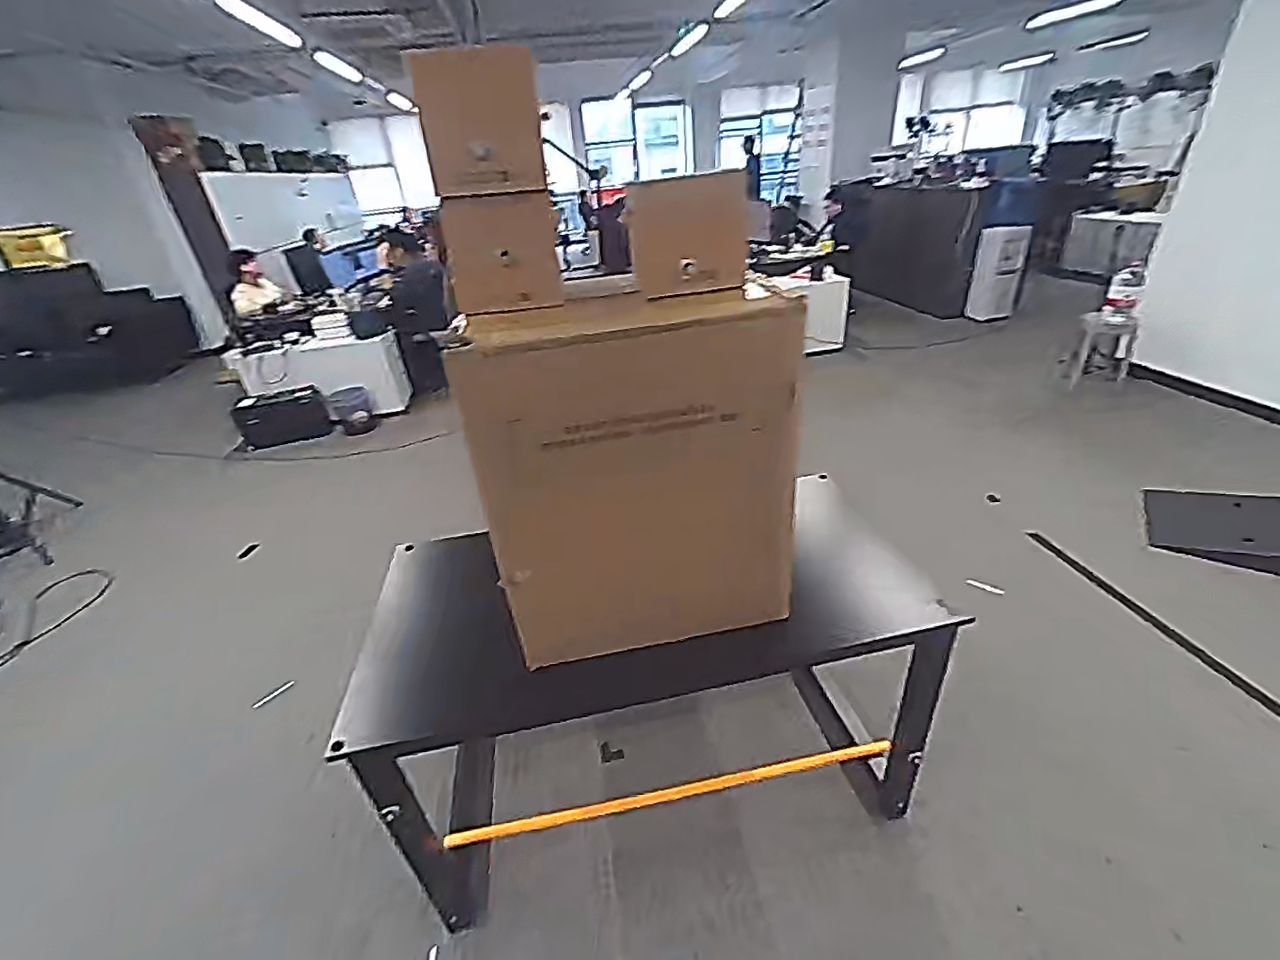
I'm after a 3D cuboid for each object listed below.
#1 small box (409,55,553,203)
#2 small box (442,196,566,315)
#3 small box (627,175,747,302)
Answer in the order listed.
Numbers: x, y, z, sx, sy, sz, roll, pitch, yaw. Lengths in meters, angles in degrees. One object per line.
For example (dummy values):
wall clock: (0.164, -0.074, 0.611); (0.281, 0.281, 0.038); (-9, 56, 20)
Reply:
small box: (-0.224, -0.515, 0.812); (0.168, 0.176, 0.179); (-8, 30, -6)
small box: (-0.219, -0.378, 0.907); (0.168, 0.176, 0.179); (-8, 30, -7)
small box: (0.075, -0.404, 0.905); (0.168, 0.176, 0.179); (-10, 30, -4)
